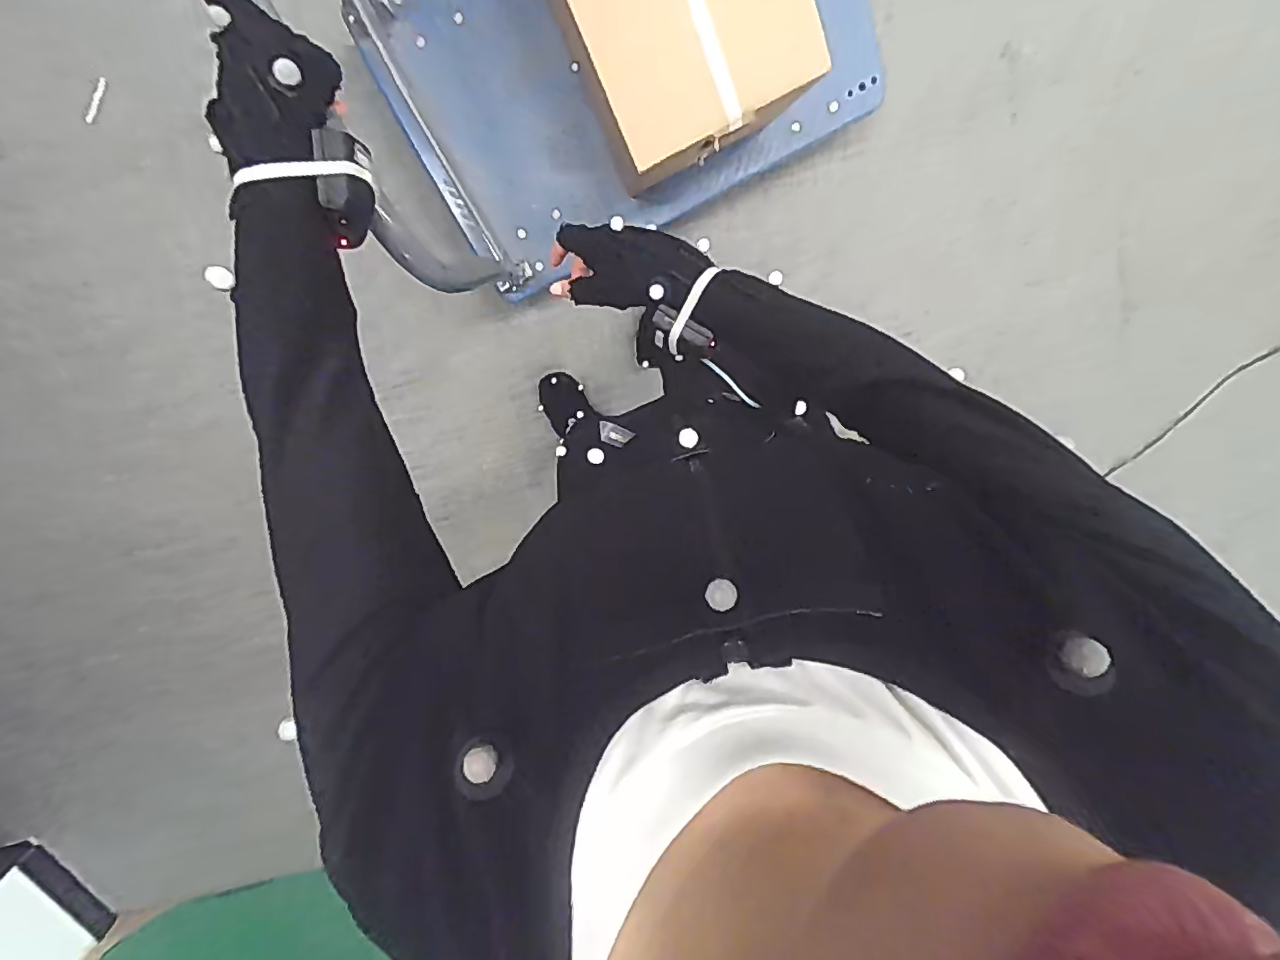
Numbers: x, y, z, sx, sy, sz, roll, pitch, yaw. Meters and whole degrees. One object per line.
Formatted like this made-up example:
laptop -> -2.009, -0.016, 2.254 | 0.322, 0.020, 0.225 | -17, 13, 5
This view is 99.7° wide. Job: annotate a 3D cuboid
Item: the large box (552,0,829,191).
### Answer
large box -> 0.047, -0.754, 0.869 | 0.320, 0.320, 0.408 | -25, 110, 6
